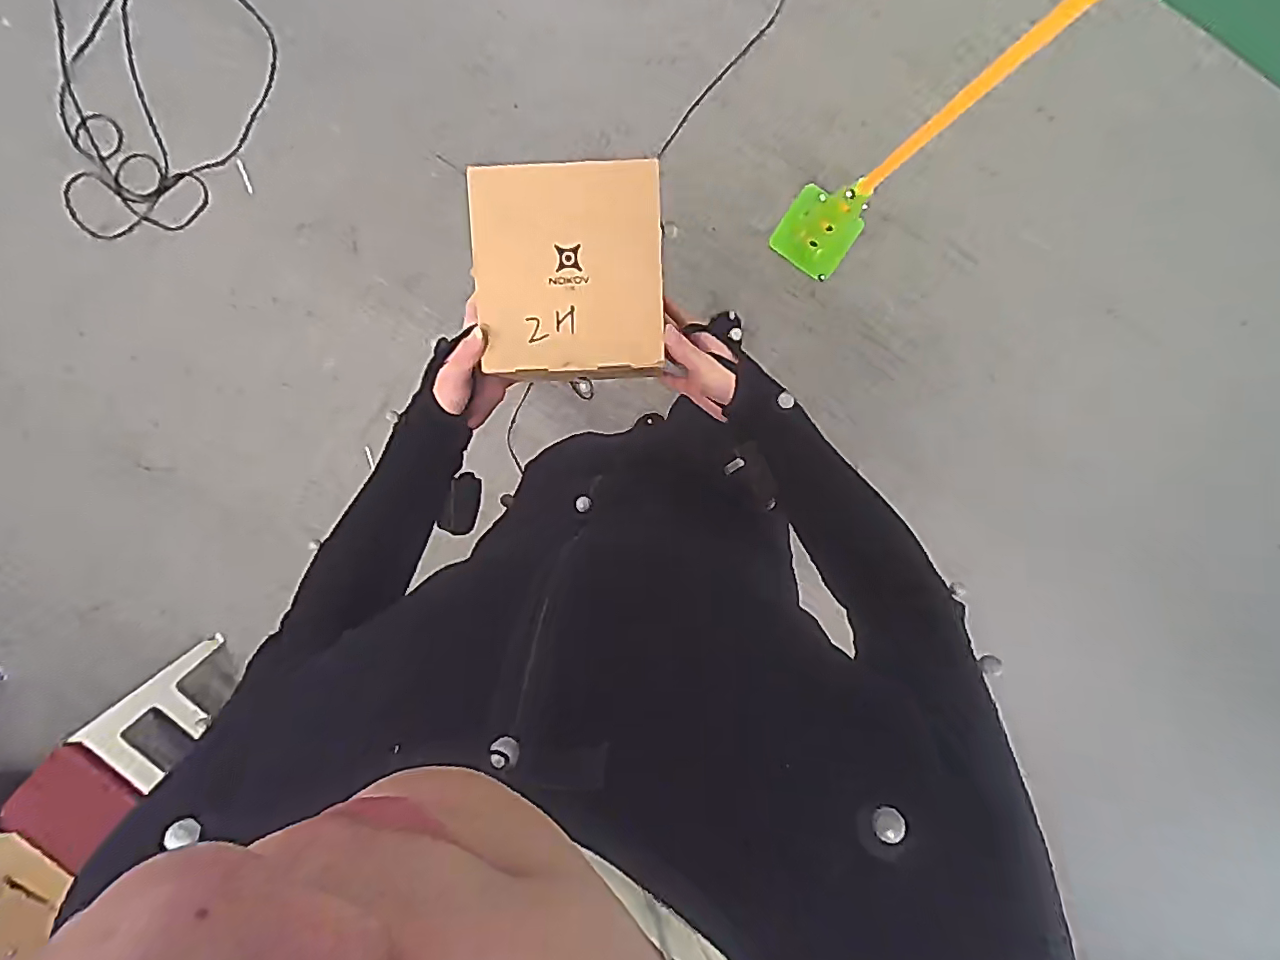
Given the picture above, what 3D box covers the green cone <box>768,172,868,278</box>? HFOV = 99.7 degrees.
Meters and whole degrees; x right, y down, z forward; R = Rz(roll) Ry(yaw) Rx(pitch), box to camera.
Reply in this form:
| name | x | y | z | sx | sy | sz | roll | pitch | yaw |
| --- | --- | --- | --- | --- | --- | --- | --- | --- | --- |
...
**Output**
| name | x | y | z | sx | sy | sz | roll | pitch | yaw |
| --- | --- | --- | --- | --- | --- | --- | --- | --- | --- |
| green cone | 0.482 | -0.669 | 1.336 | 0.202 | 0.368 | 0.200 | 34 | 98 | -4 |
